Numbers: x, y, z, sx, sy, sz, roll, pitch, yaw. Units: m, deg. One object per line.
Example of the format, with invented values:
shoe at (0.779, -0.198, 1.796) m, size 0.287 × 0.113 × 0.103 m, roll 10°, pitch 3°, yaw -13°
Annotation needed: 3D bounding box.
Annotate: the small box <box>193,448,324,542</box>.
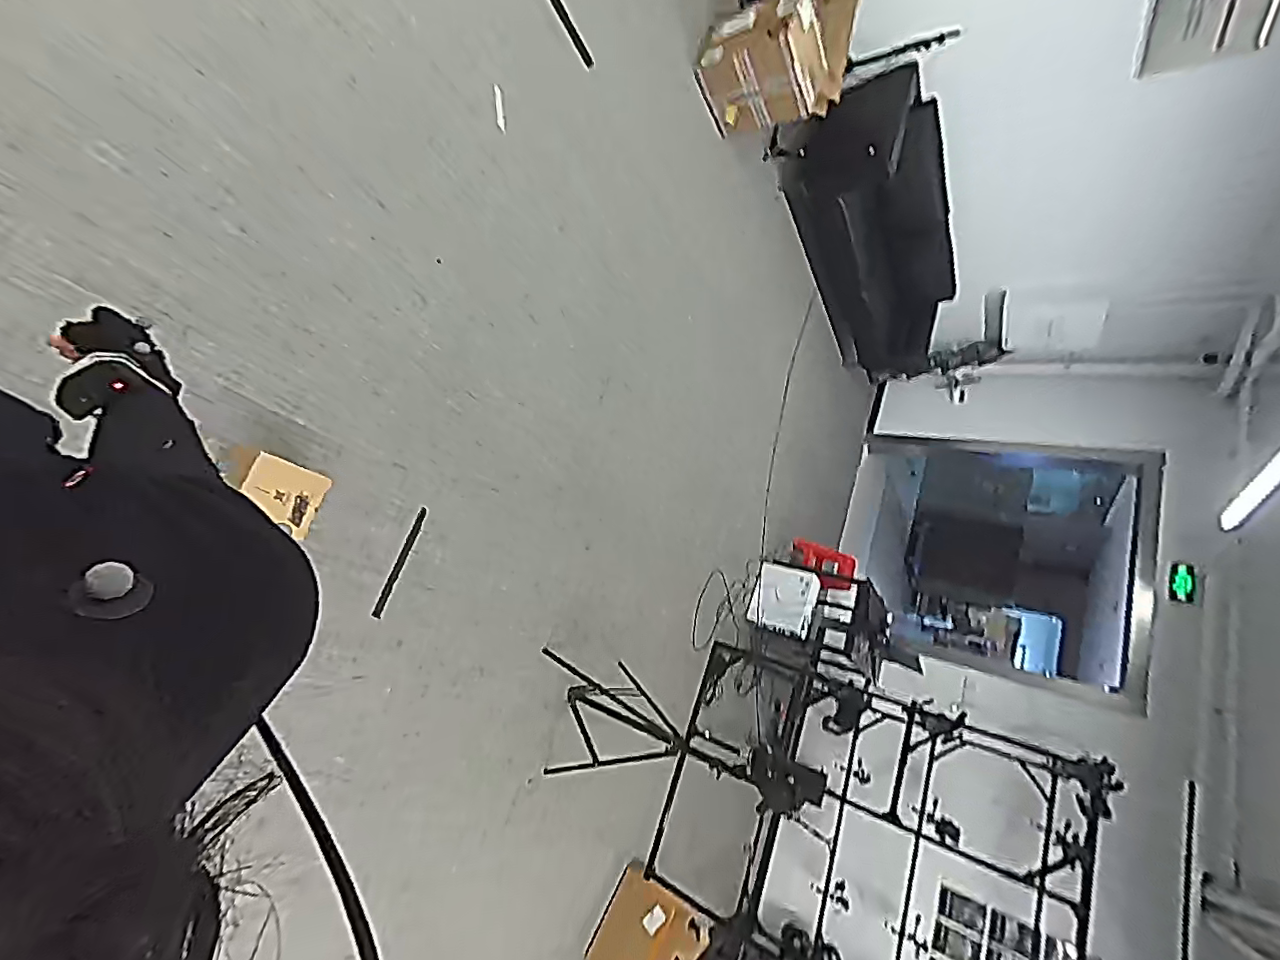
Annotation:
small box at (-0.914, 0.032, 1.298) m, size 0.179 × 0.176 × 0.168 m, roll 39°, pitch 65°, yaw -50°
